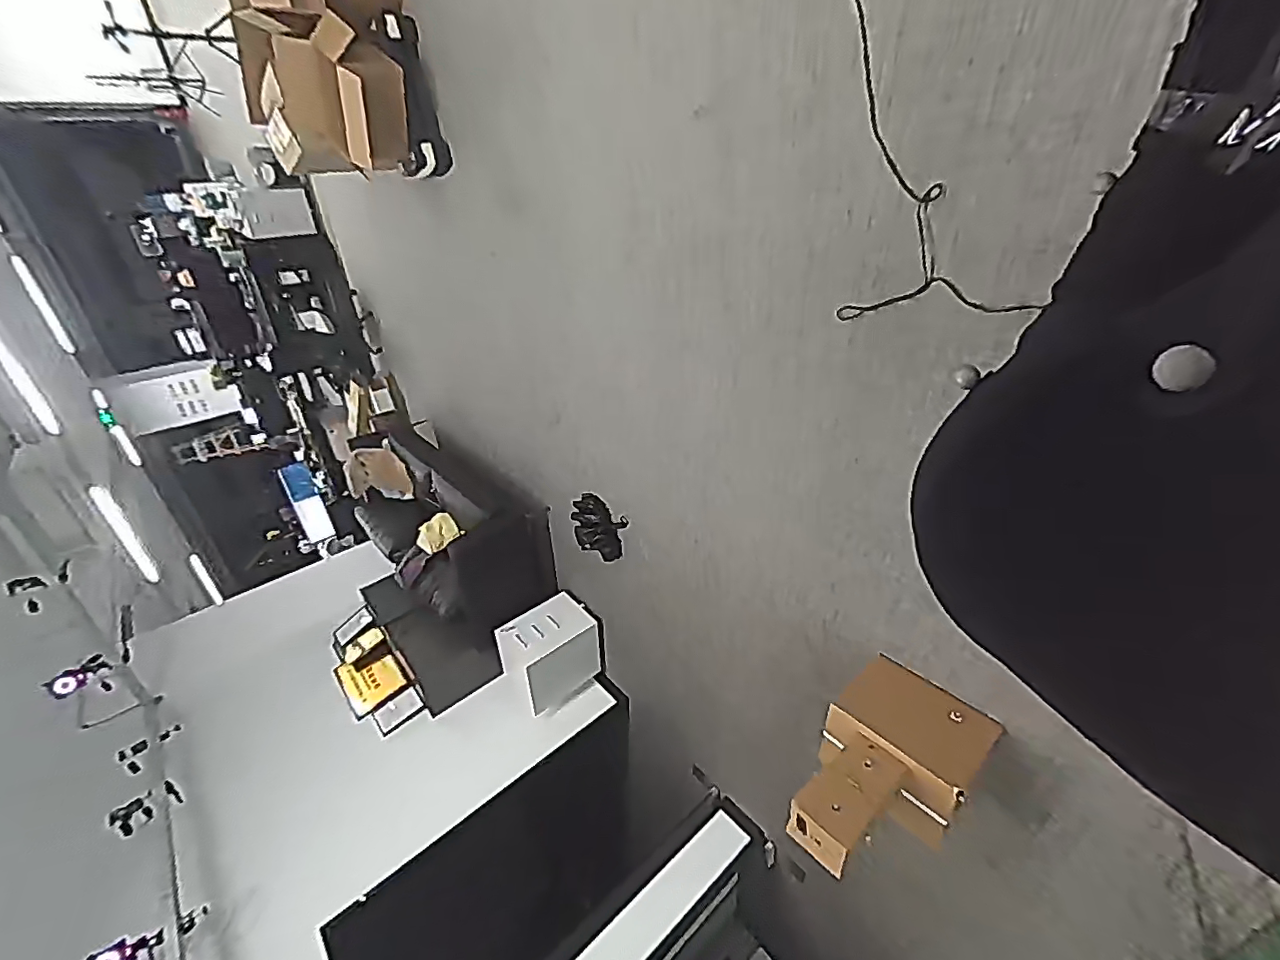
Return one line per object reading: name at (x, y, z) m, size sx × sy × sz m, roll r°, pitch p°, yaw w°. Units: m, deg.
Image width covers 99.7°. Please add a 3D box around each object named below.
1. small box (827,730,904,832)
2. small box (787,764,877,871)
small box at (0.681, 0.909, 1.650) m, size 0.168 × 0.176 × 0.179 m, roll 27°, pitch 131°, yaw 43°
small box at (0.550, 0.961, 1.563) m, size 0.179 × 0.176 × 0.168 m, roll 27°, pitch 132°, yaw 45°
